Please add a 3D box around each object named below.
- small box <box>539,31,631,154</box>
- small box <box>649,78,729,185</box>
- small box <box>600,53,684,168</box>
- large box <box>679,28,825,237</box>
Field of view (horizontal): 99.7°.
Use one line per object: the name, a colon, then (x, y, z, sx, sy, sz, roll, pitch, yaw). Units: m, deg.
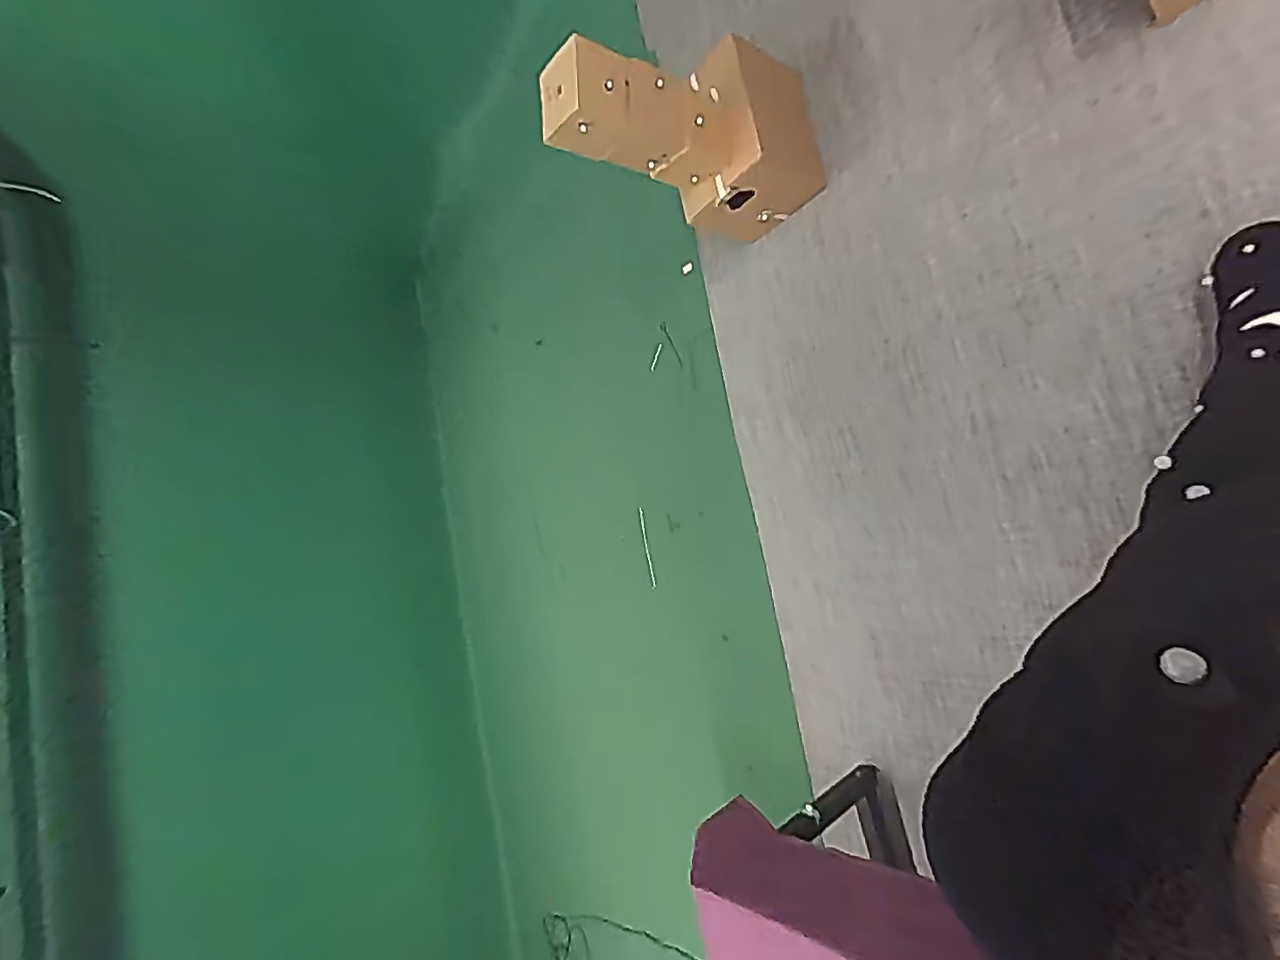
small box: (-0.132, -0.945, 1.339, 0.179, 0.176, 0.168, 3, 98, 52)
small box: (0.134, -0.972, 1.528, 0.168, 0.176, 0.179, -3, 93, 52)
small box: (0.002, -0.966, 1.433, 0.168, 0.176, 0.179, 2, 98, 53)
large box: (0.317, -1.044, 1.679, 0.320, 0.320, 0.408, -21, 78, 51)
